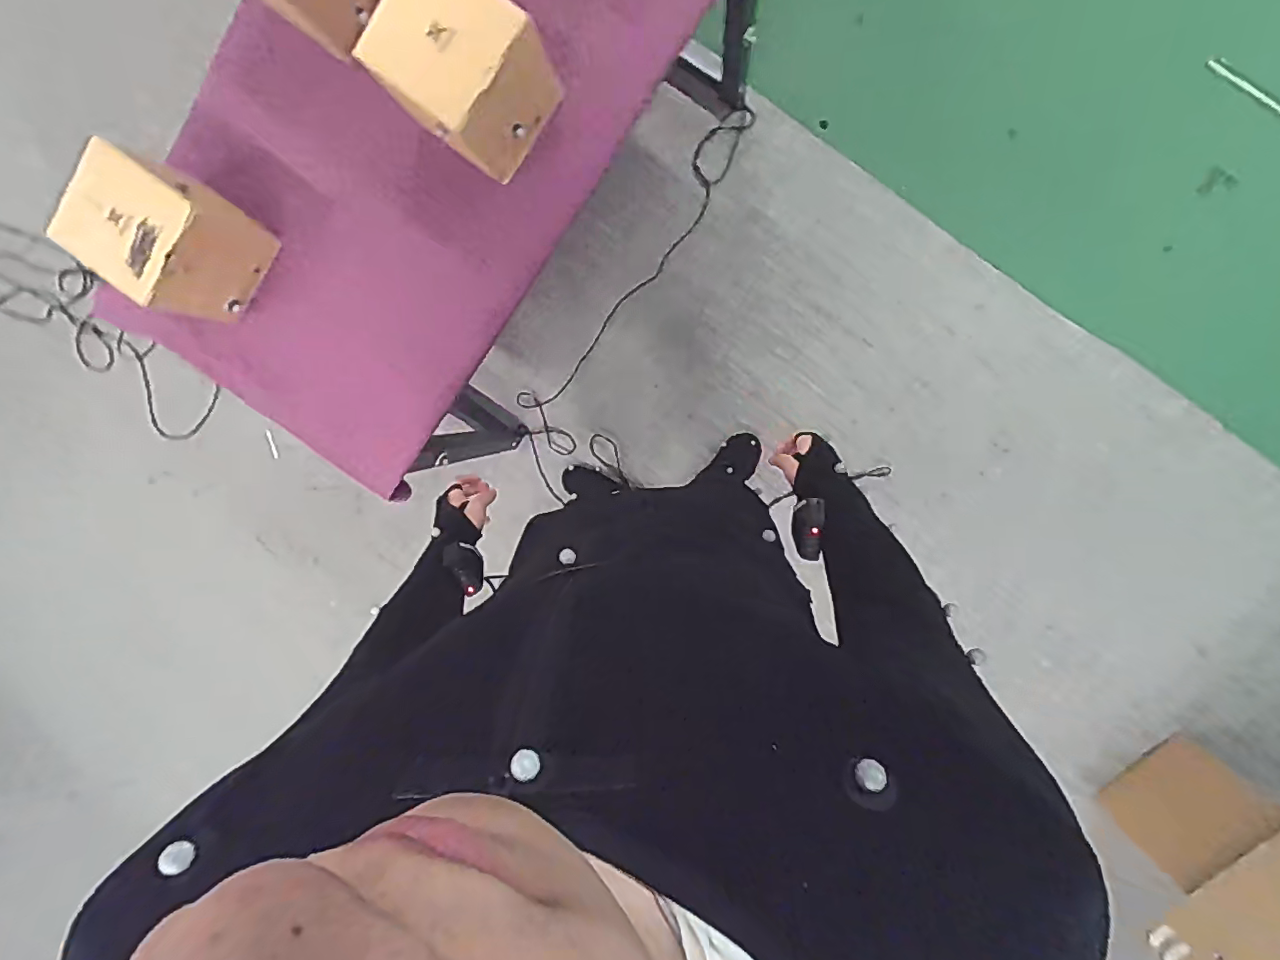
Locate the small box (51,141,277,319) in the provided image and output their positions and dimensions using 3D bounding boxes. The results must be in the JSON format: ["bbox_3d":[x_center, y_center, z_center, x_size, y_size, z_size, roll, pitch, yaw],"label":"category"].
[{"bbox_3d":[-0.723,-0.370,0.842,0.179,0.176,0.168,36,99,0],"label":"small box"}]

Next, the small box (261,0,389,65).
[{"bbox_3d":[-0.483,-0.753,0.770,0.179,0.176,0.168,37,100,-1],"label":"small box"}]

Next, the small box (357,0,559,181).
[{"bbox_3d":[-0.244,-0.569,0.767,0.179,0.176,0.168,37,99,1],"label":"small box"}]
